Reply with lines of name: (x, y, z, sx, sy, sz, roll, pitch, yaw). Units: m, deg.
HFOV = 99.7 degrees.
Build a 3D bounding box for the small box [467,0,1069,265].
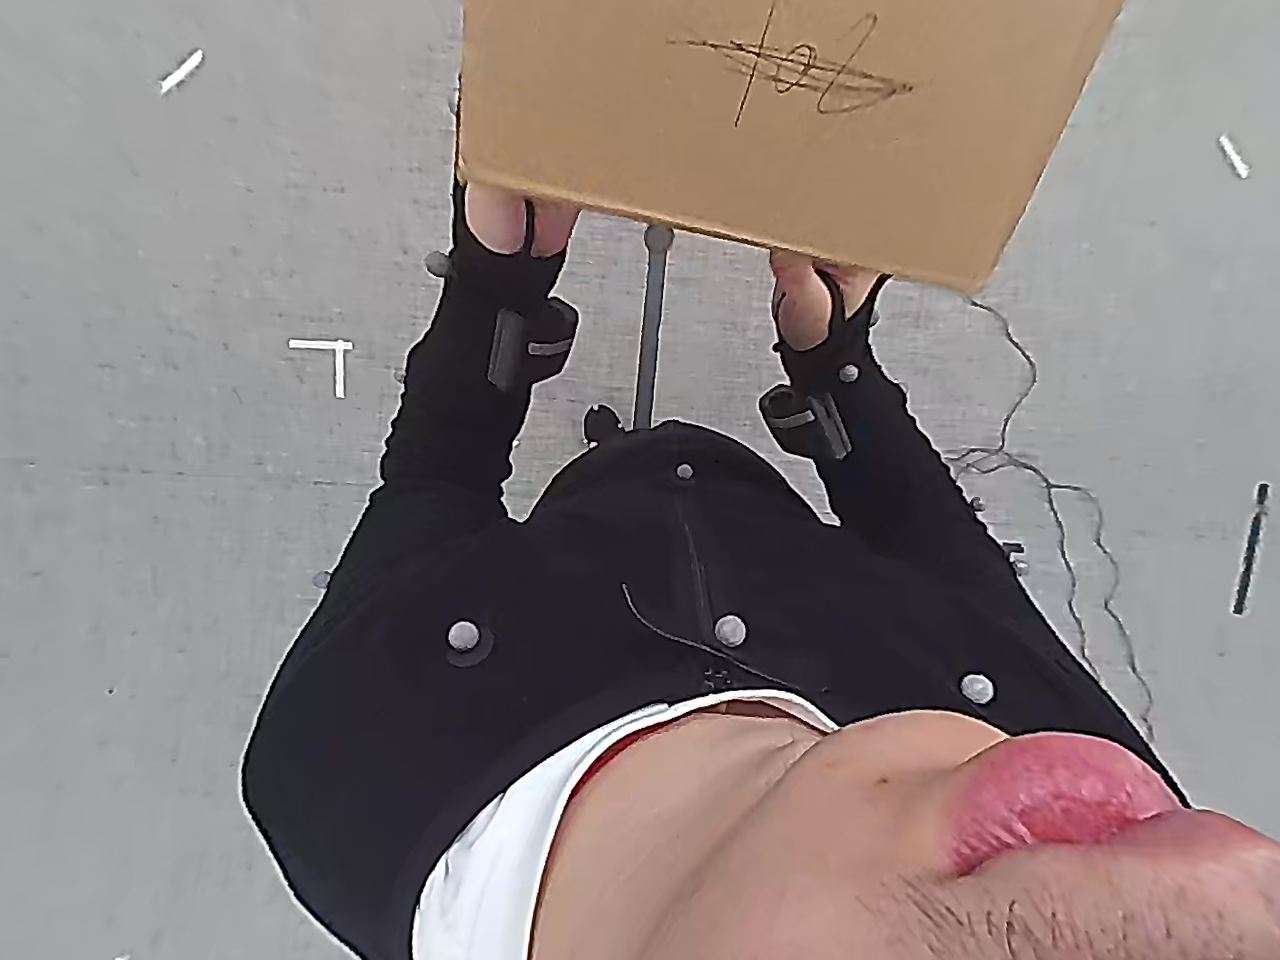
small box: (0.037, -0.194, 0.206, 0.168, 0.176, 0.179, 7, 118, -4)
